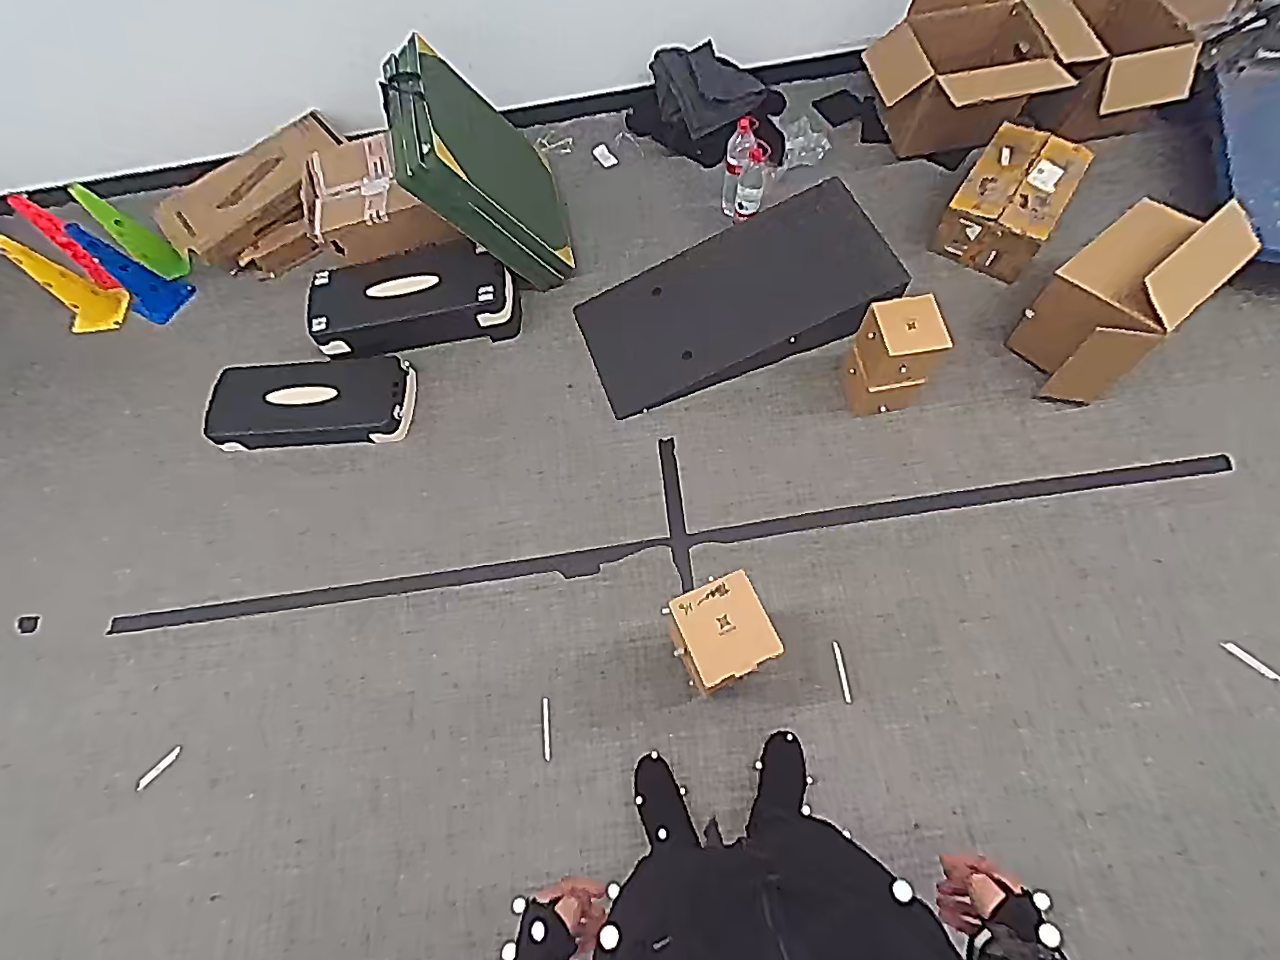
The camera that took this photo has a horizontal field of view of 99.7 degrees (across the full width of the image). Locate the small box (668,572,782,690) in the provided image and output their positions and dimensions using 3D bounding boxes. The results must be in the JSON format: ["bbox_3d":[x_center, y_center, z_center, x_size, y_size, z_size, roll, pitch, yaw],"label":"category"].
[{"bbox_3d":[0.168,0.312,1.109,0.168,0.176,0.179,-23,69,-4],"label":"small box"}]
